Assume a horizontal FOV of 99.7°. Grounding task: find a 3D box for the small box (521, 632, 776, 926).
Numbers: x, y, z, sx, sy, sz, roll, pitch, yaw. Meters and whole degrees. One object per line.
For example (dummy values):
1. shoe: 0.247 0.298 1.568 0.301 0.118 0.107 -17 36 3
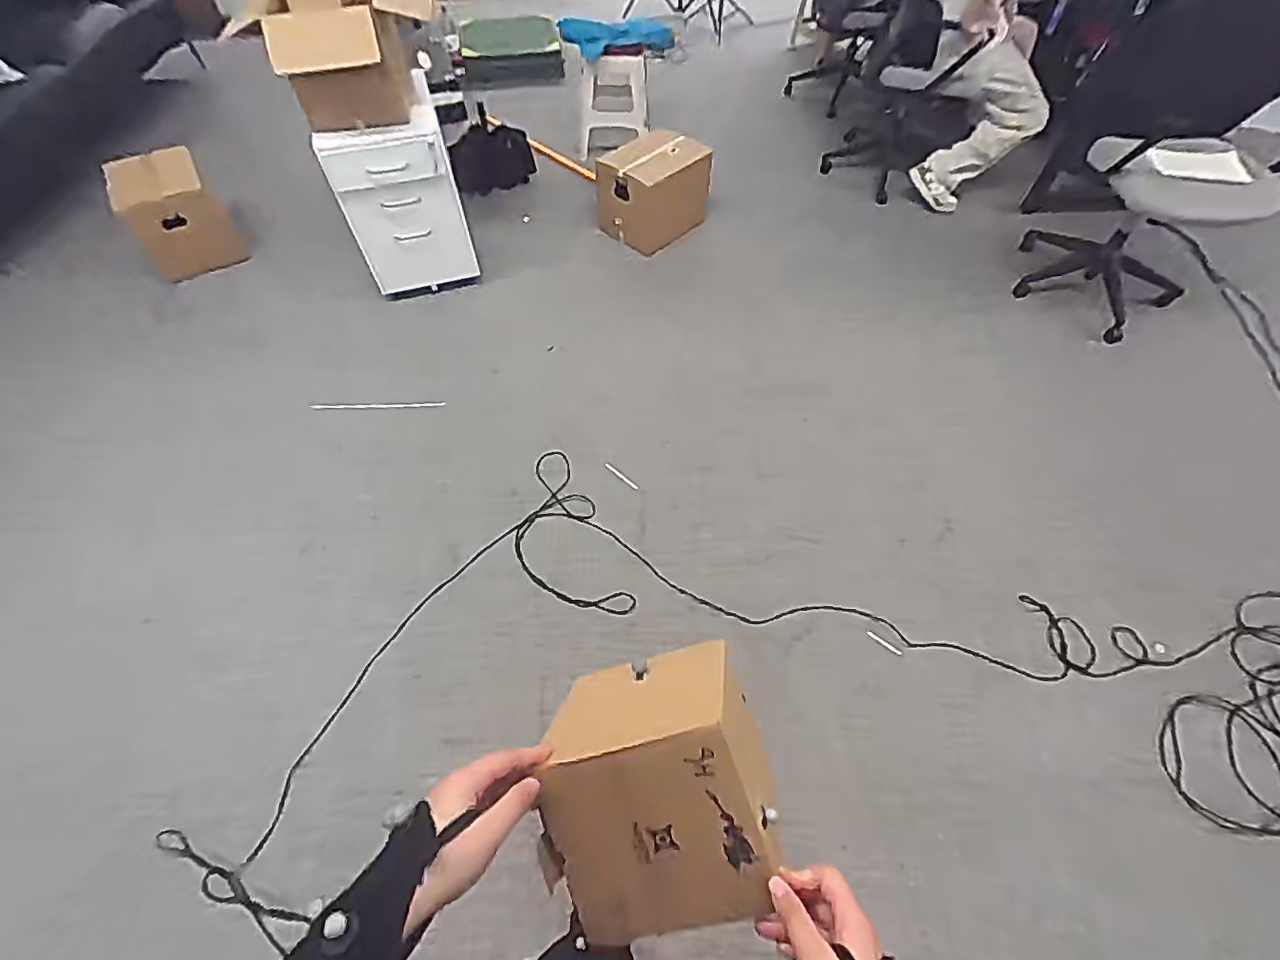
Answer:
1. small box: 0.019 0.268 0.517 0.179 0.176 0.168 -19 92 12
